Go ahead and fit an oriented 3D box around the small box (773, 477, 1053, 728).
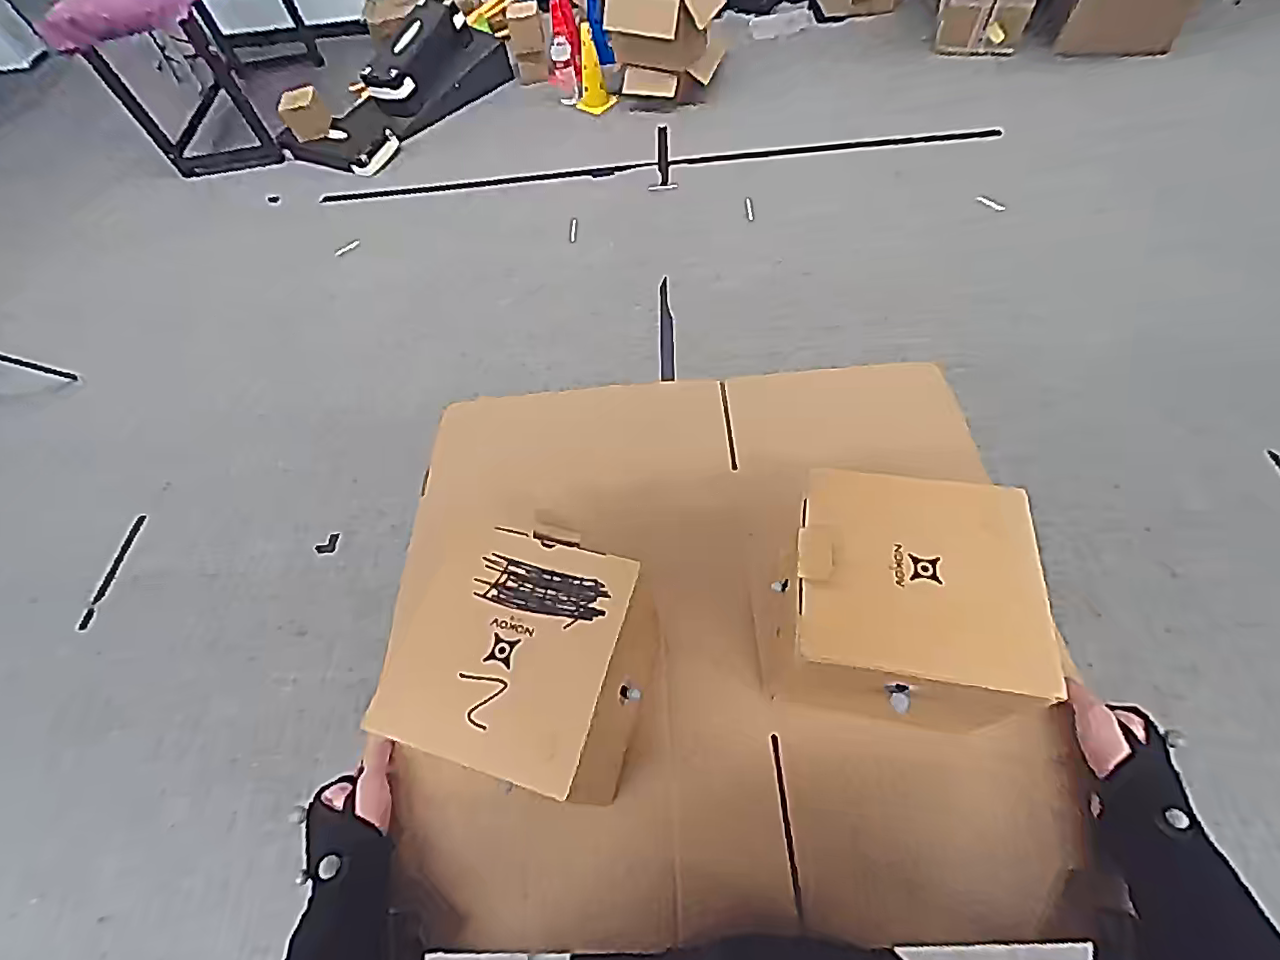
[{"bbox_3d":[0.223,0.117,0.493,0.179,0.176,0.168,5,58,11],"label":"small box"}]
